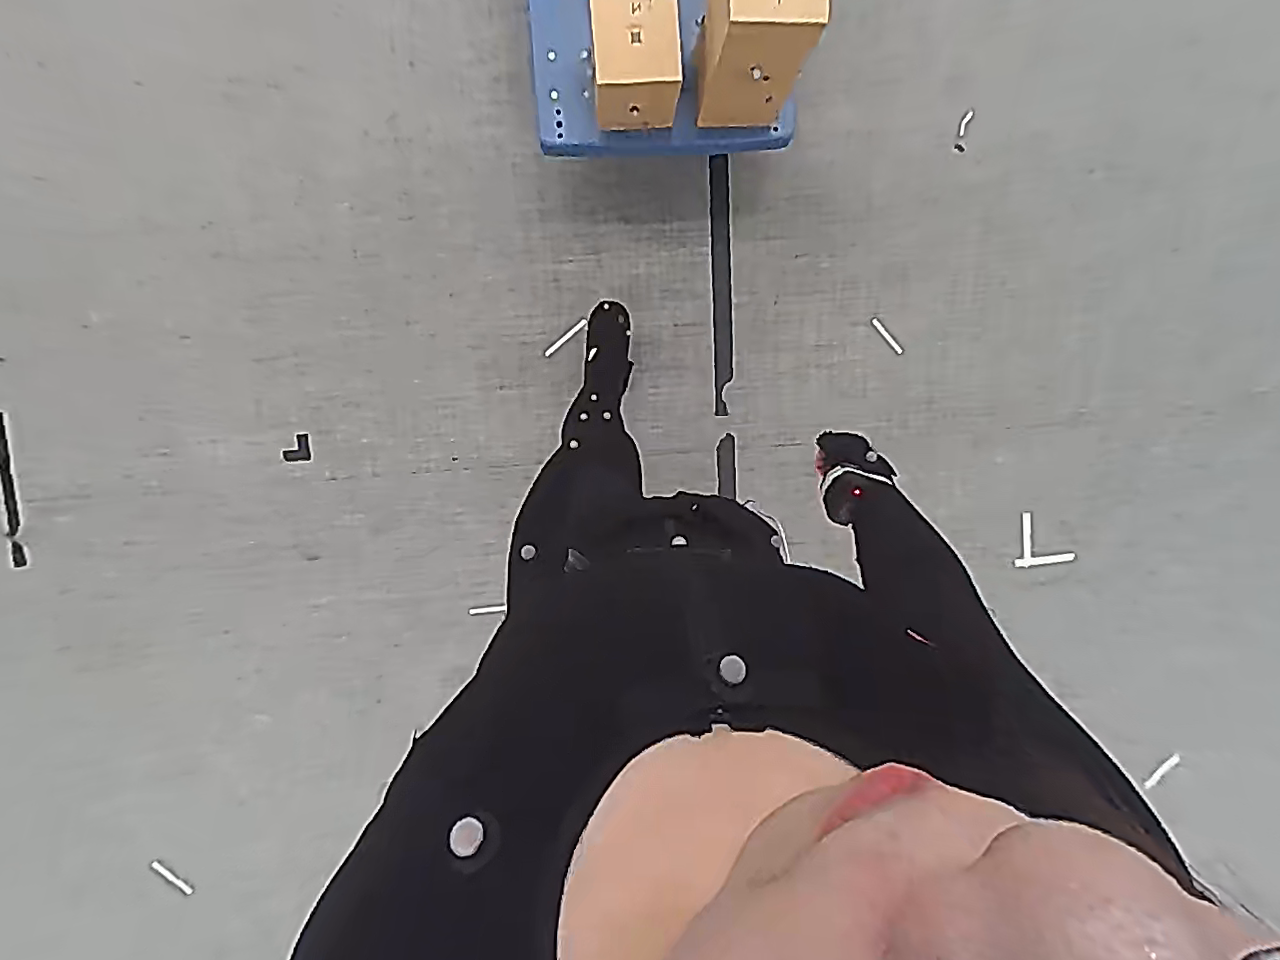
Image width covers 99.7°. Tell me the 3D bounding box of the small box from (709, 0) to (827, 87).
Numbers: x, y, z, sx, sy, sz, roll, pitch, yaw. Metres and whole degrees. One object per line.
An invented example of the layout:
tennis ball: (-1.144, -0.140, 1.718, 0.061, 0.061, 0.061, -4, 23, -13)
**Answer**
small box: (0.215, -0.833, 0.945, 0.168, 0.176, 0.179, -2, 97, -3)

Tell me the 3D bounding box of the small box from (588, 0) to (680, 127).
small box: (-0.014, -0.844, 1.095, 0.168, 0.176, 0.179, -5, 96, -4)
